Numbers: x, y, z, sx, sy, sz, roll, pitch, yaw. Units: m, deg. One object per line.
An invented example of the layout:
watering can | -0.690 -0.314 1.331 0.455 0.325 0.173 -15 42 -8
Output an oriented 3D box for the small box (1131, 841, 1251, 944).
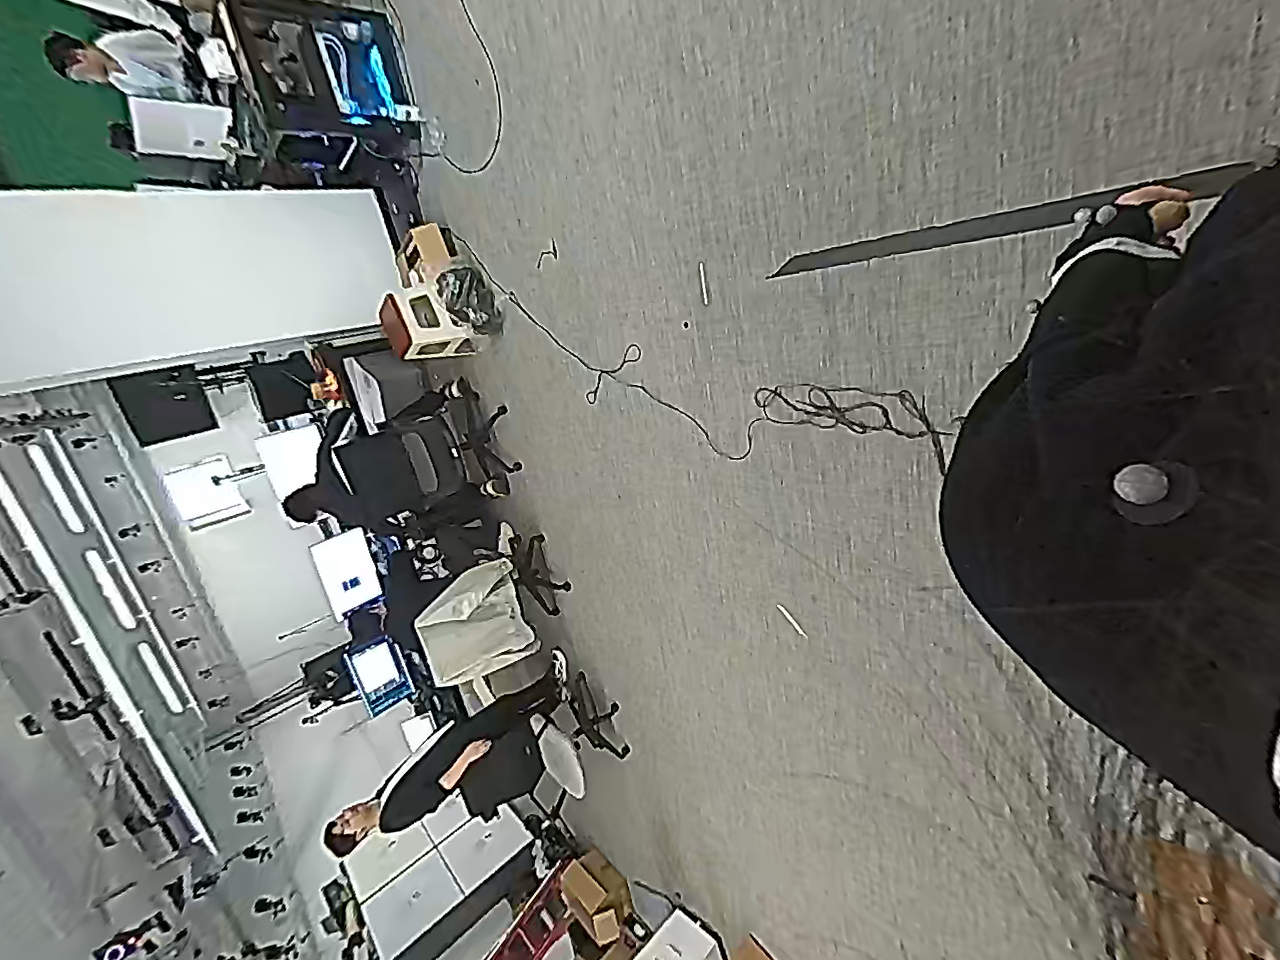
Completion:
small box | 1.371 1.052 1.350 0.179 0.176 0.168 18 123 44

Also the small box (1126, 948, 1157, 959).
small box | 1.139 1.179 1.159 0.179 0.176 0.168 19 123 44

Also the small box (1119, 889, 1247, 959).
small box | 1.254 1.116 1.254 0.179 0.176 0.168 22 125 42
